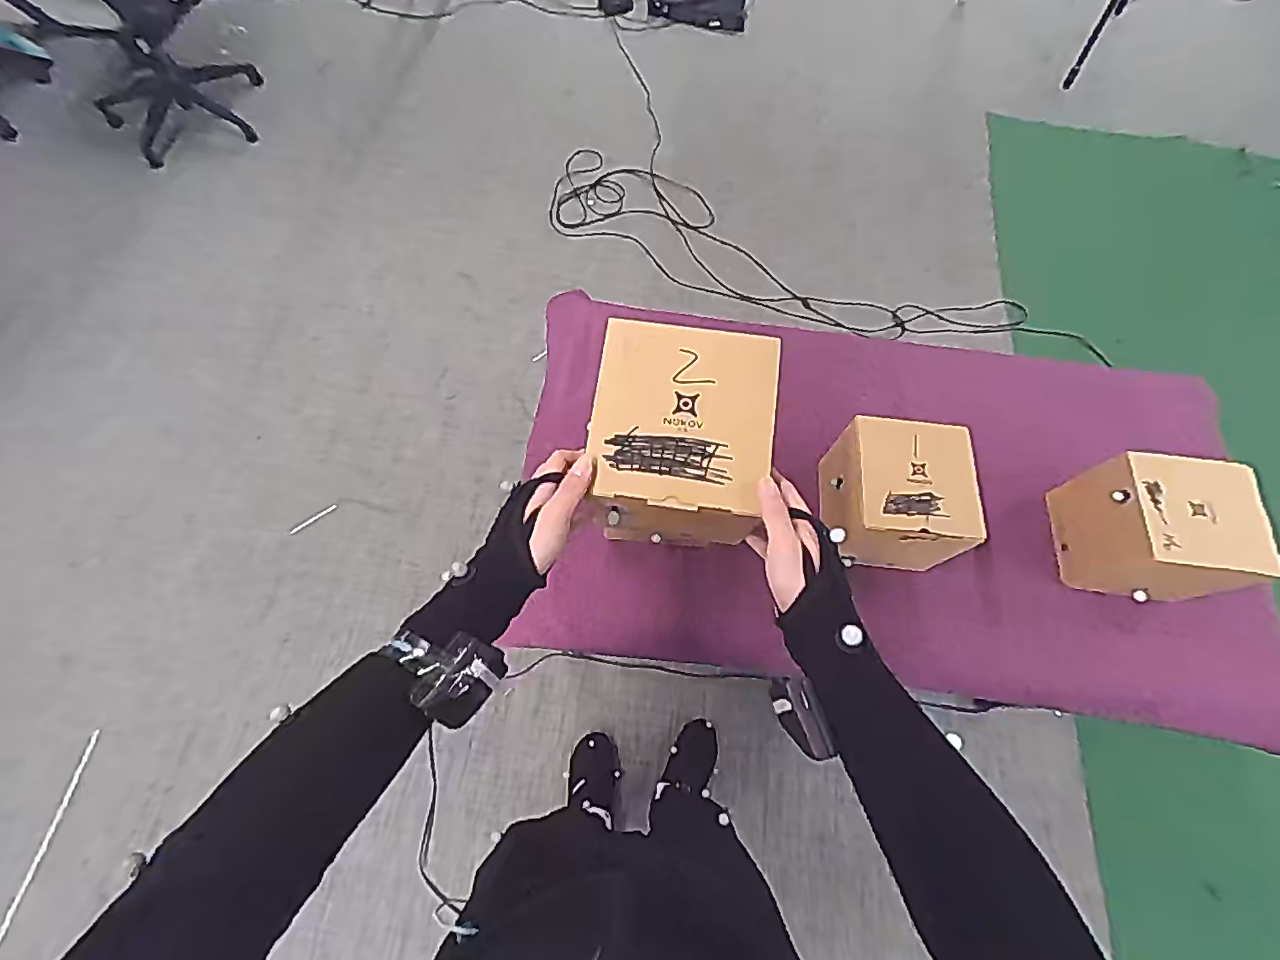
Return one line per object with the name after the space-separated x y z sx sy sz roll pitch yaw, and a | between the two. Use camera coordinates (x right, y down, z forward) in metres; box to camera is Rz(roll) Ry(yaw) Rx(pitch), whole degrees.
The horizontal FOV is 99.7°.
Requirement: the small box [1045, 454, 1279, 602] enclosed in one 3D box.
0.765 0.080 0.814 0.179 0.176 0.168 8 66 1 | small box

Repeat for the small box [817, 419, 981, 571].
0.377 0.031 0.822 0.168 0.176 0.179 7 65 0 | small box

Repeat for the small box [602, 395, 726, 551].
0.033 -0.005 0.824 0.168 0.176 0.179 5 66 0 | small box
